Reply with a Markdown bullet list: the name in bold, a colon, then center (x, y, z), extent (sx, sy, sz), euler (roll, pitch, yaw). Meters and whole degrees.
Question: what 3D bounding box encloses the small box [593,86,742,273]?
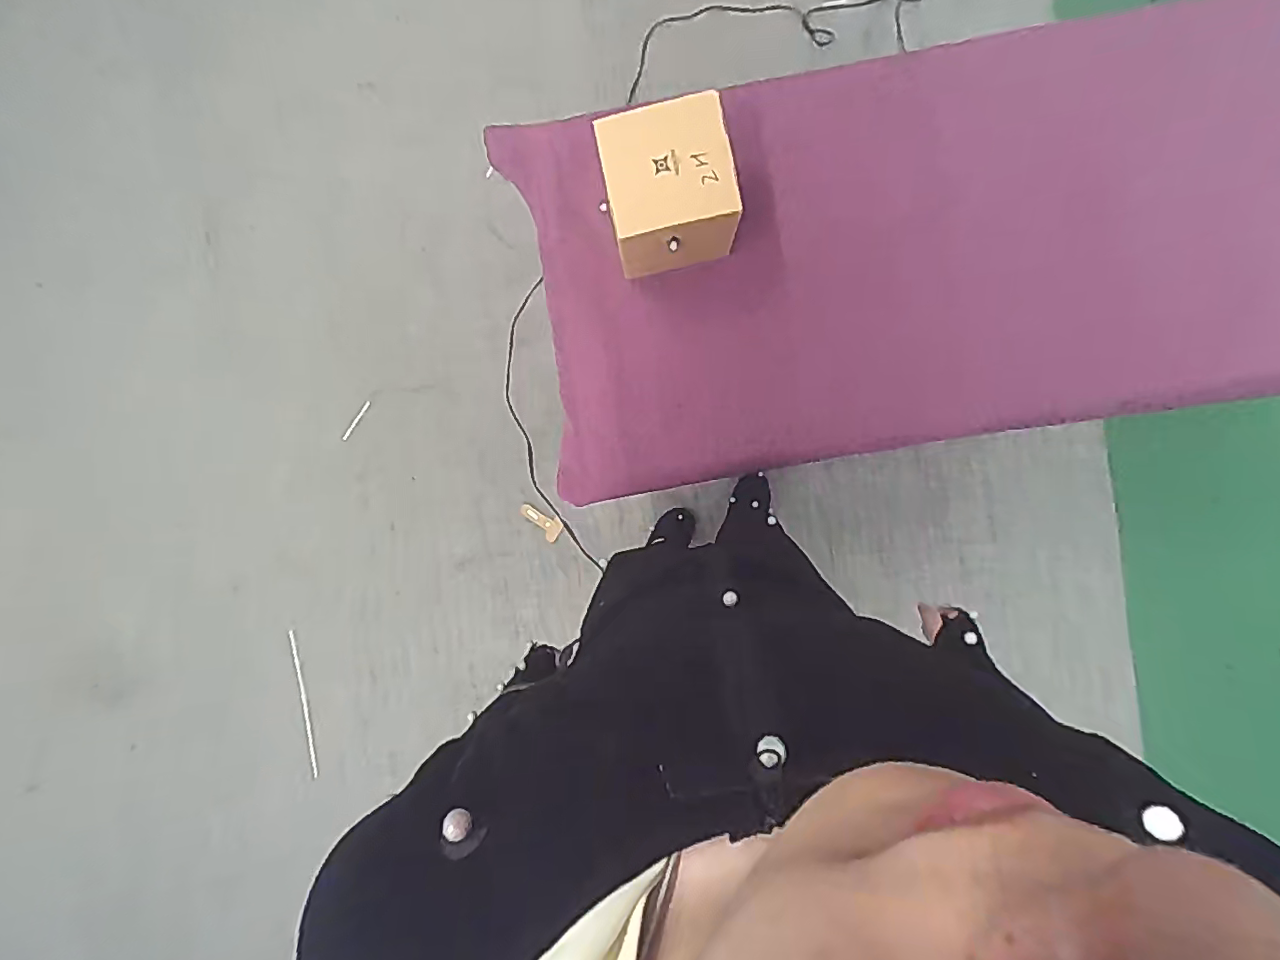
- **small box**: center (0.042, -0.427, 0.801), extent (0.179, 0.176, 0.168), euler (-12, 92, 3)
